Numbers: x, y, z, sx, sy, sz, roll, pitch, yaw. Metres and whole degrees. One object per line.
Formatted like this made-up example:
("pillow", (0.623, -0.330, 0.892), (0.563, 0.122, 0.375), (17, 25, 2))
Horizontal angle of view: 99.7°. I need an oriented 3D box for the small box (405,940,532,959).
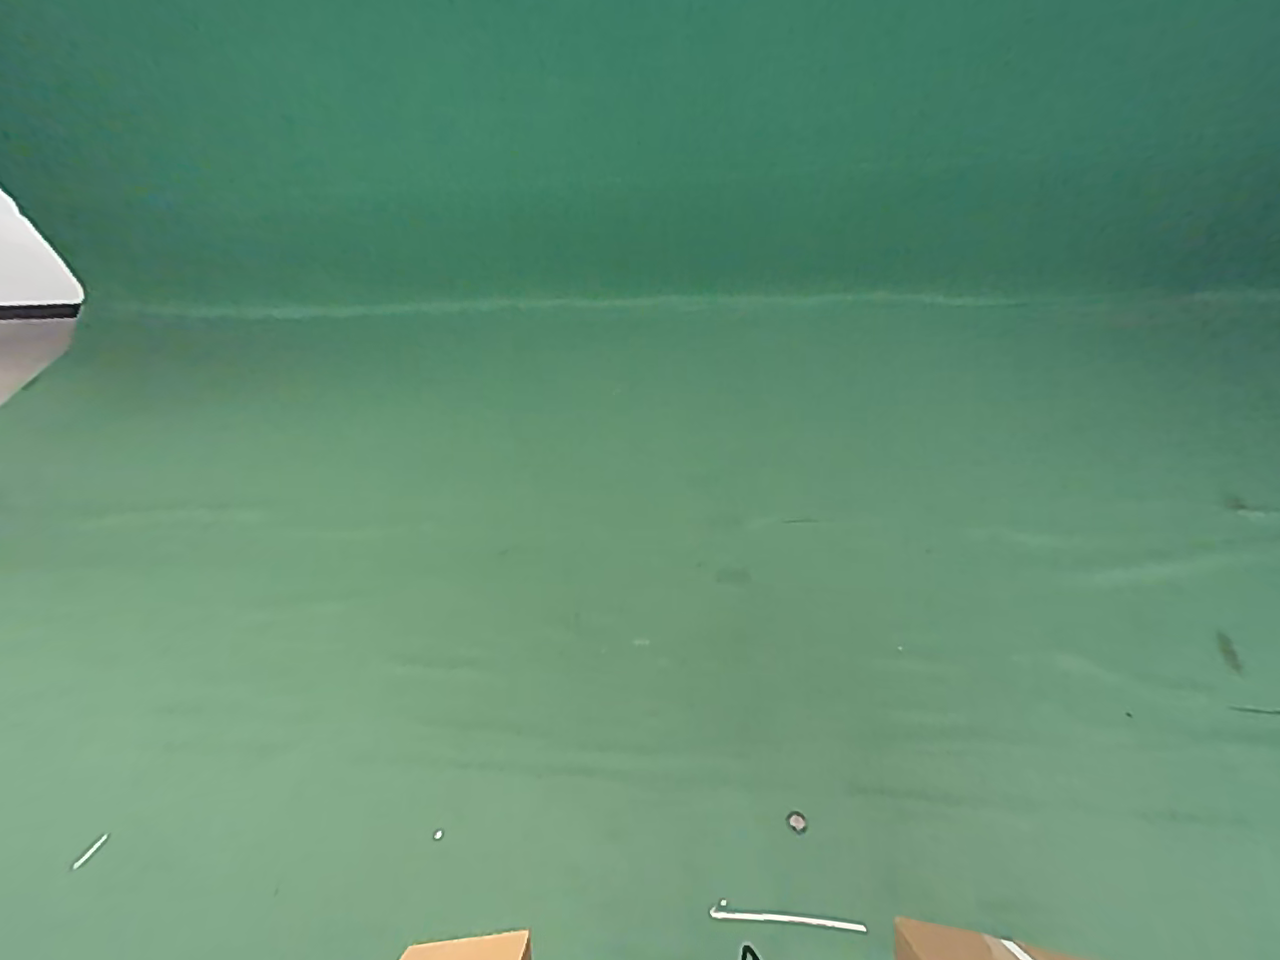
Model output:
("small box", (-0.220, 0.688, 0.624), (0.168, 0.179, 0.176), (-7, 81, -1))
